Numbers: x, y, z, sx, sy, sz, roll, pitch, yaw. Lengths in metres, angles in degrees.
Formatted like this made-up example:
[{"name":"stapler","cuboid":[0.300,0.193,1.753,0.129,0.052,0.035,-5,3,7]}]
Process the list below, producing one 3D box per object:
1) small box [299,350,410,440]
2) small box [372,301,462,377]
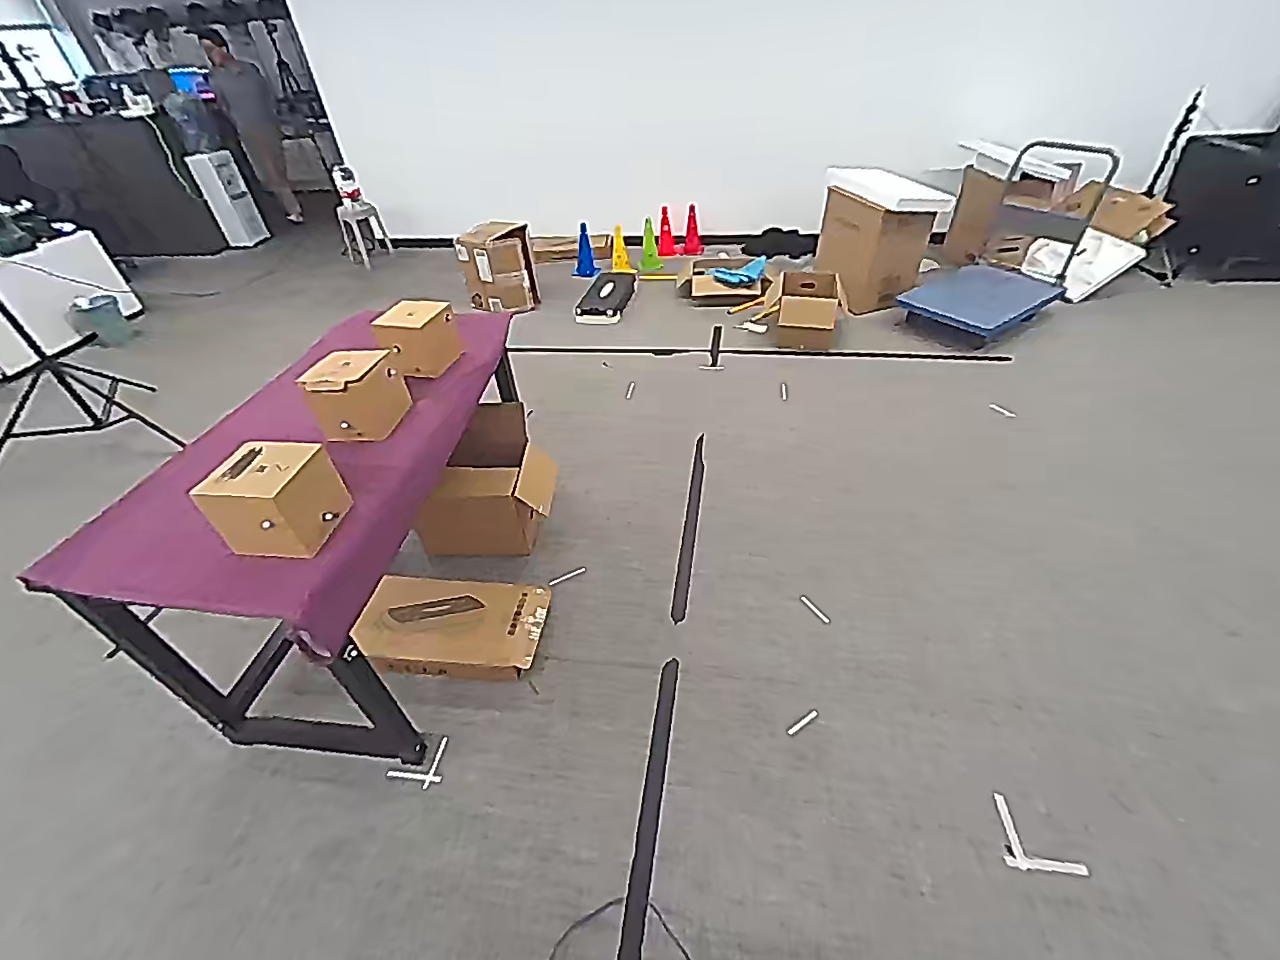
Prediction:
[{"name":"small box","cuboid":[-0.722,-0.220,1.396,0.168,0.176,0.179,0,41,9]},{"name":"small box","cuboid":[-0.662,-0.426,1.632,0.168,0.176,0.179,6,41,12]}]
